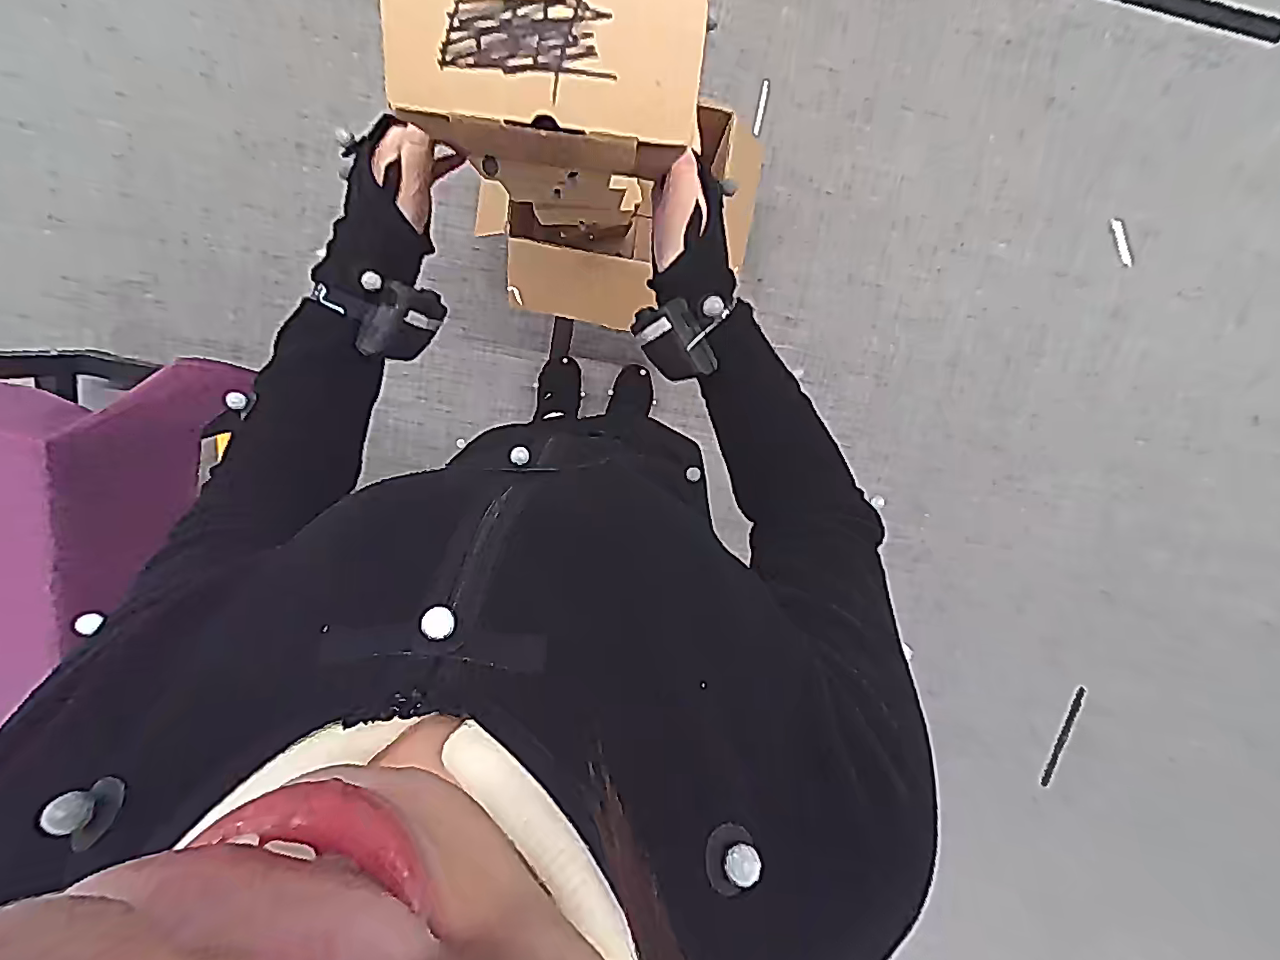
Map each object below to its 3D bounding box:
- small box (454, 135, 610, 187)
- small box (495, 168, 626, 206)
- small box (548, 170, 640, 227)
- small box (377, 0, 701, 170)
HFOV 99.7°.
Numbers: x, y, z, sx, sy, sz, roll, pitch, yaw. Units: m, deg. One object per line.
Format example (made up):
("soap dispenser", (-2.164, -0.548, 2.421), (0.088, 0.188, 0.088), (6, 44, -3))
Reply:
("small box", (-0.109, -0.448, 0.611), (0.168, 0.176, 0.179), (3, 108, -7))
("small box", (-0.107, -0.497, 0.768), (0.179, 0.176, 0.168), (2, 109, -6))
("small box", (-0.104, -0.614, 1.077), (0.179, 0.176, 0.168), (-12, 108, -3))
("small box", (-0.052, -0.307, 0.335), (0.168, 0.176, 0.179), (4, 113, -8))
